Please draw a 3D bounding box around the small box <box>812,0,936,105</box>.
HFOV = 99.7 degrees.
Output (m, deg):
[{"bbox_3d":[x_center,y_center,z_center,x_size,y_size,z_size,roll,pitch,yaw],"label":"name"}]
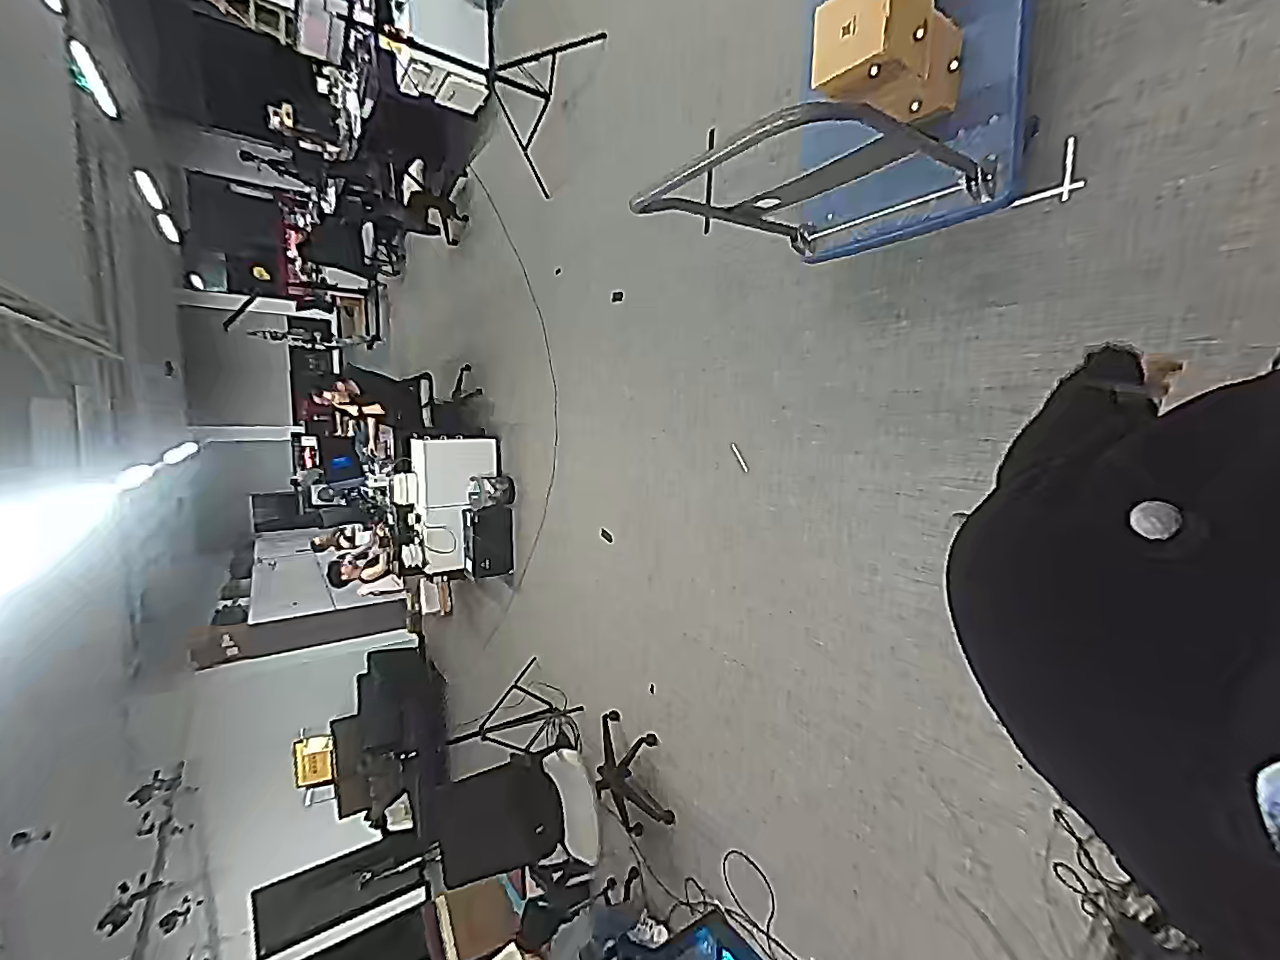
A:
[{"bbox_3d":[0.495,-0.943,1.153,0.179,0.176,0.168,11,103,53],"label":"small box"}]
